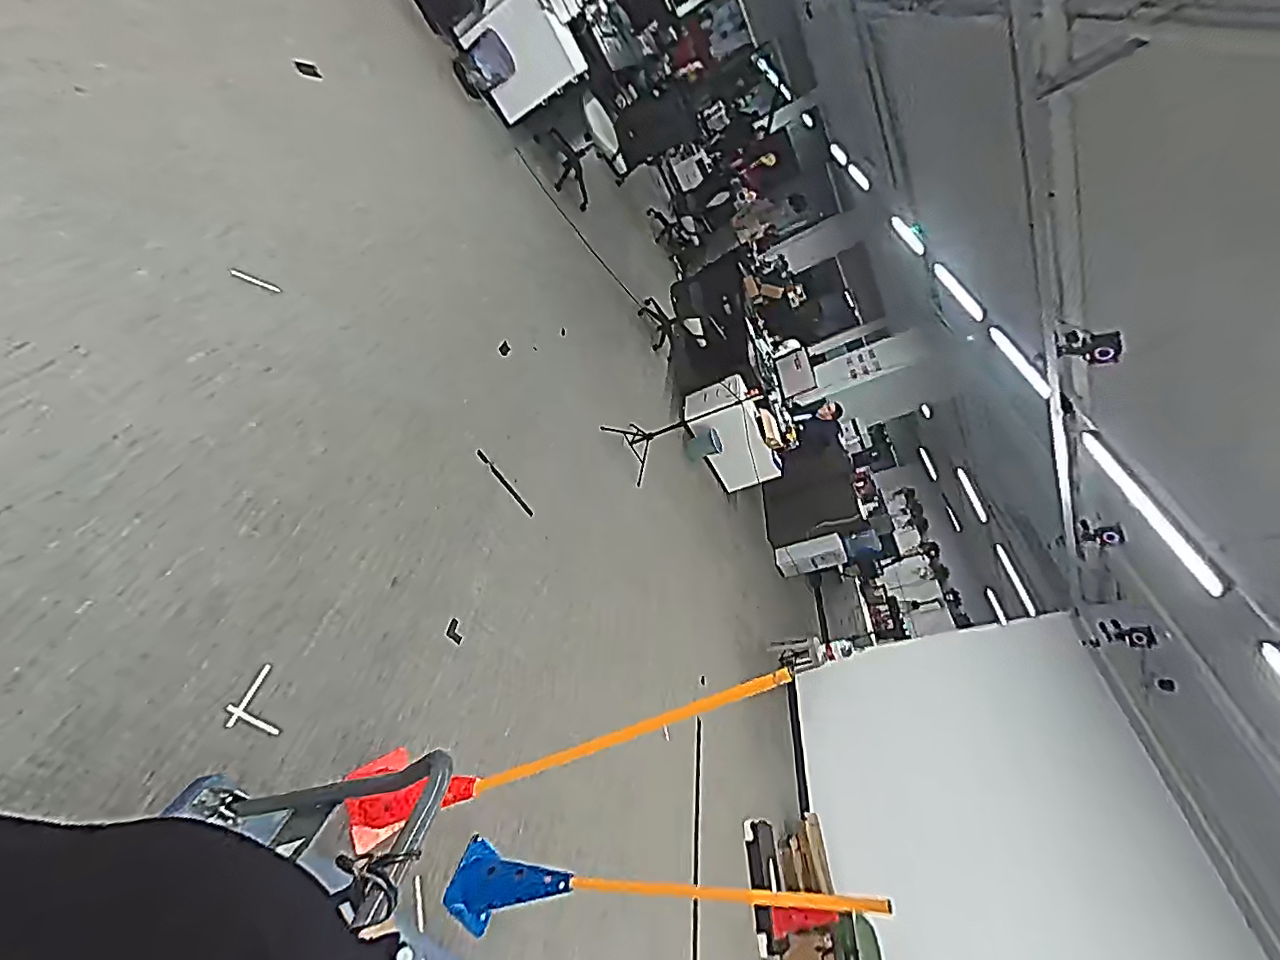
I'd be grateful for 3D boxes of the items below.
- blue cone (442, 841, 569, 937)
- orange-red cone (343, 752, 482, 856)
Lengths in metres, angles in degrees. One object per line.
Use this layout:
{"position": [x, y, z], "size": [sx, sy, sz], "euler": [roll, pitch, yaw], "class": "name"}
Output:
{"position": [-0.358, 1.172, 1.556], "size": [0.192, 0.380, 0.193], "euler": [62, 25, -18], "class": "blue cone"}
{"position": [-0.549, 0.811, 1.382], "size": [0.198, 0.360, 0.199], "euler": [6, 68, -64], "class": "orange-red cone"}
